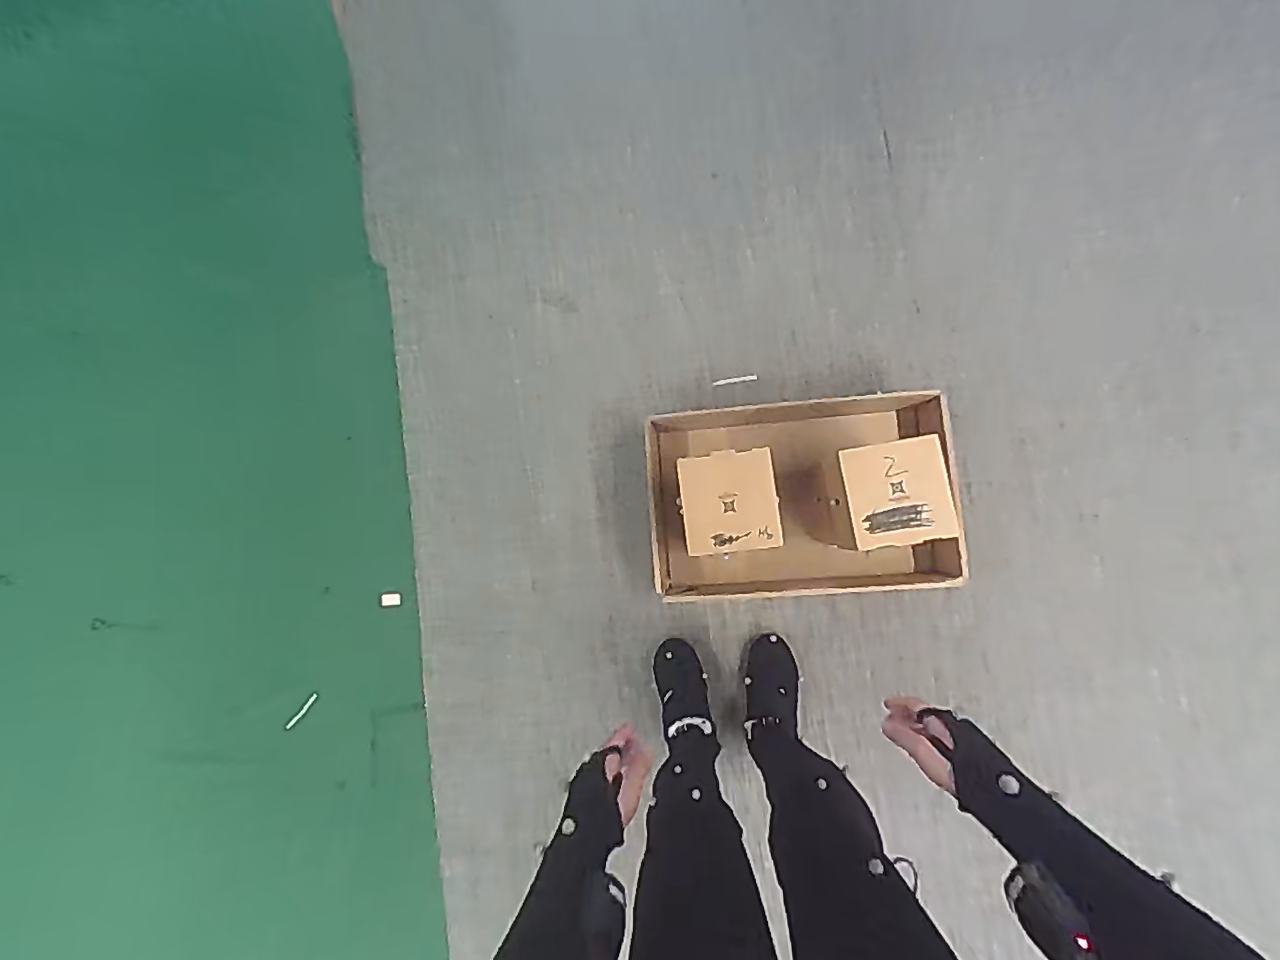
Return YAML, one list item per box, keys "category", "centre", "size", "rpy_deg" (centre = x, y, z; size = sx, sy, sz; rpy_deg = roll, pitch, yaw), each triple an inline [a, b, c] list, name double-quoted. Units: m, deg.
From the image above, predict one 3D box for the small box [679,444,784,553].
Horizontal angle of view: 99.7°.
- category: "small box"
  centre: [0.166, 0.042, 1.010]
  size: [0.168, 0.176, 0.179]
  rpy_deg: [-7, 83, 8]
